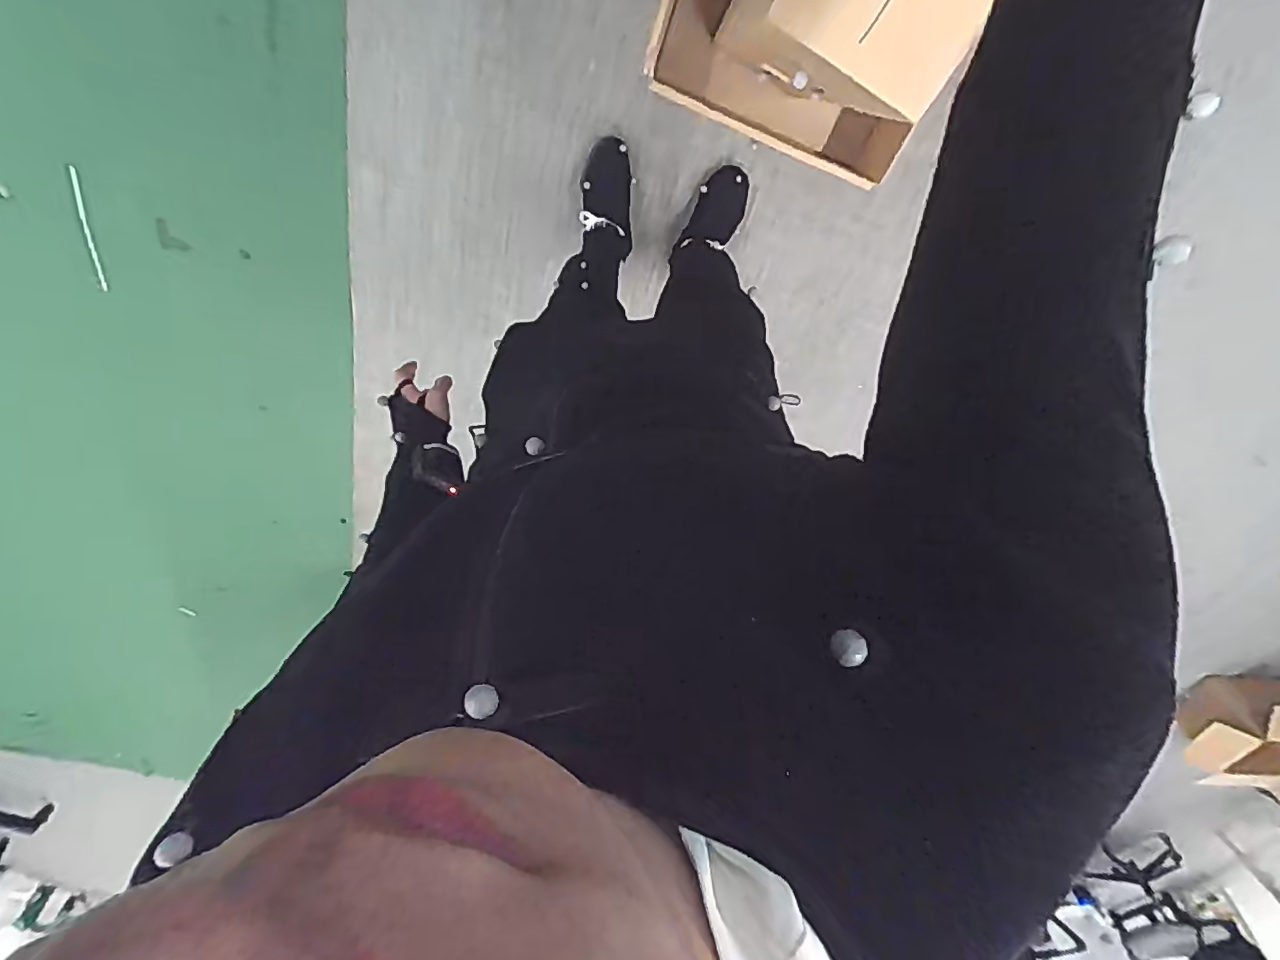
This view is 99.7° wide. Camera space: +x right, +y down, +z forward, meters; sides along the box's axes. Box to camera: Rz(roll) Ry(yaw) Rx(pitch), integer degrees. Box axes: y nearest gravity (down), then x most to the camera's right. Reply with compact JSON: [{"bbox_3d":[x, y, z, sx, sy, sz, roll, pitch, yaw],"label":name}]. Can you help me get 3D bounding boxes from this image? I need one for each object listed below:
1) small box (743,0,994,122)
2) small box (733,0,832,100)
[{"bbox_3d":[0.210,-0.462,0.483,0.168,0.176,0.179,22,125,-16],"label":"small box"},{"bbox_3d":[0.220,-0.561,0.613,0.168,0.176,0.179,21,124,-16],"label":"small box"}]
